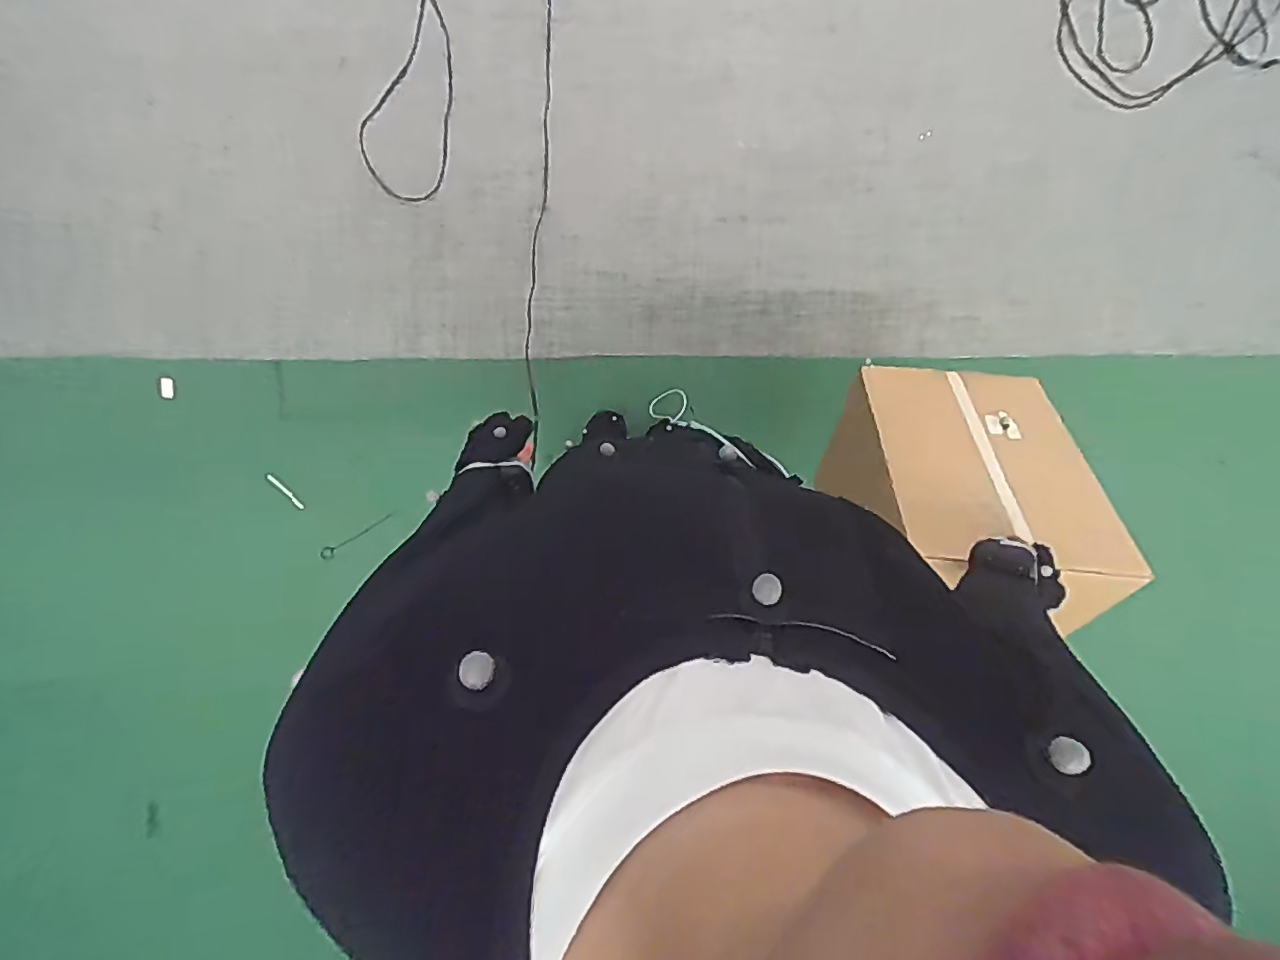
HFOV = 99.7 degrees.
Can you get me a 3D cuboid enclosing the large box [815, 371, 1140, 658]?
[{"bbox_3d":[0.525,0.060,0.961,0.320,0.408,0.320,5,139,1],"label":"large box"}]
